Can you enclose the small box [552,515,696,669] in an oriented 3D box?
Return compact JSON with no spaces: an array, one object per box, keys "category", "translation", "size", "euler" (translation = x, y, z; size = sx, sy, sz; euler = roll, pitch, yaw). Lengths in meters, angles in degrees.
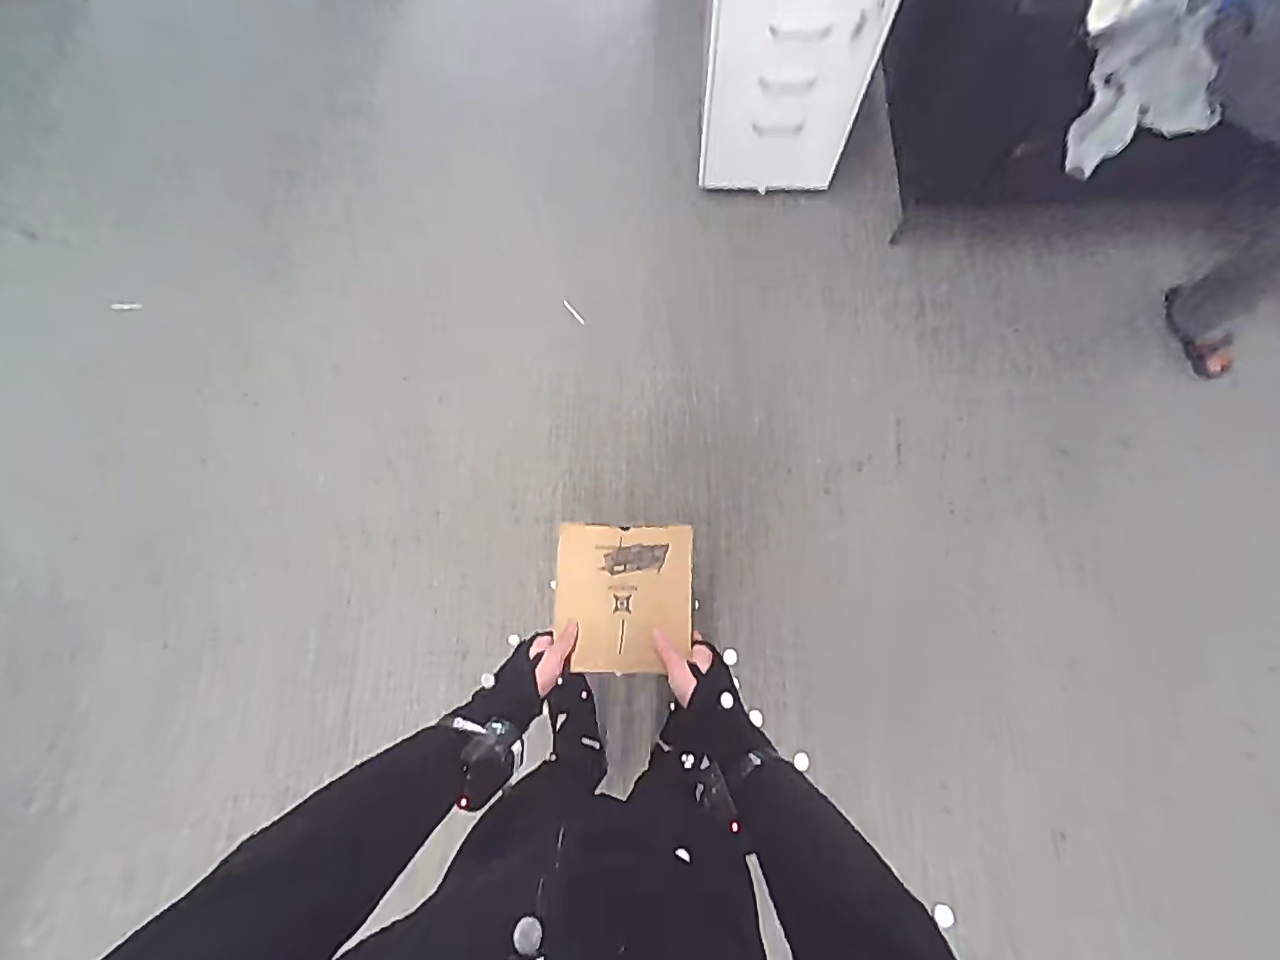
[{"category":"small box","translation":[-0.018,0.151,0.727],"size":[0.168,0.176,0.179],"euler":[3,77,1]}]
